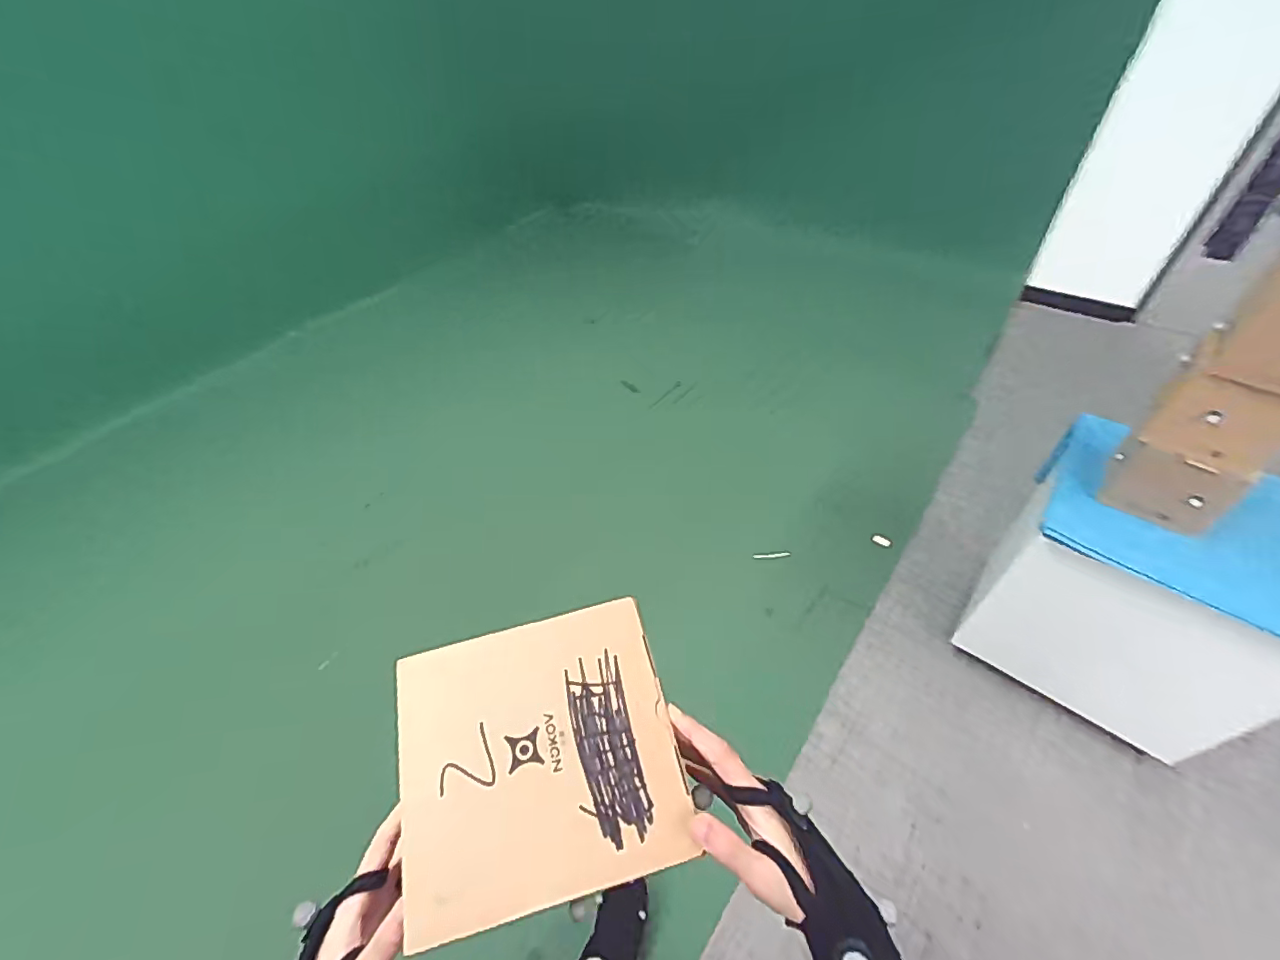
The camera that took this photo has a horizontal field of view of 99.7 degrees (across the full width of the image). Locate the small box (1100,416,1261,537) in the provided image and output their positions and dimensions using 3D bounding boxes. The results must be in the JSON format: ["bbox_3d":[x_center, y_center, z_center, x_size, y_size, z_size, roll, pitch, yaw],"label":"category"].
[{"bbox_3d":[1.052,-0.020,1.061,0.168,0.176,0.179,30,55,27],"label":"small box"}]

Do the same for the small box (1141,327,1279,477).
[{"bbox_3d":[1.035,-0.135,0.949,0.168,0.176,0.179,31,55,28],"label":"small box"}]

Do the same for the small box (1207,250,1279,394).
[{"bbox_3d":[1.025,-0.238,0.821,0.168,0.176,0.179,31,56,27],"label":"small box"}]
